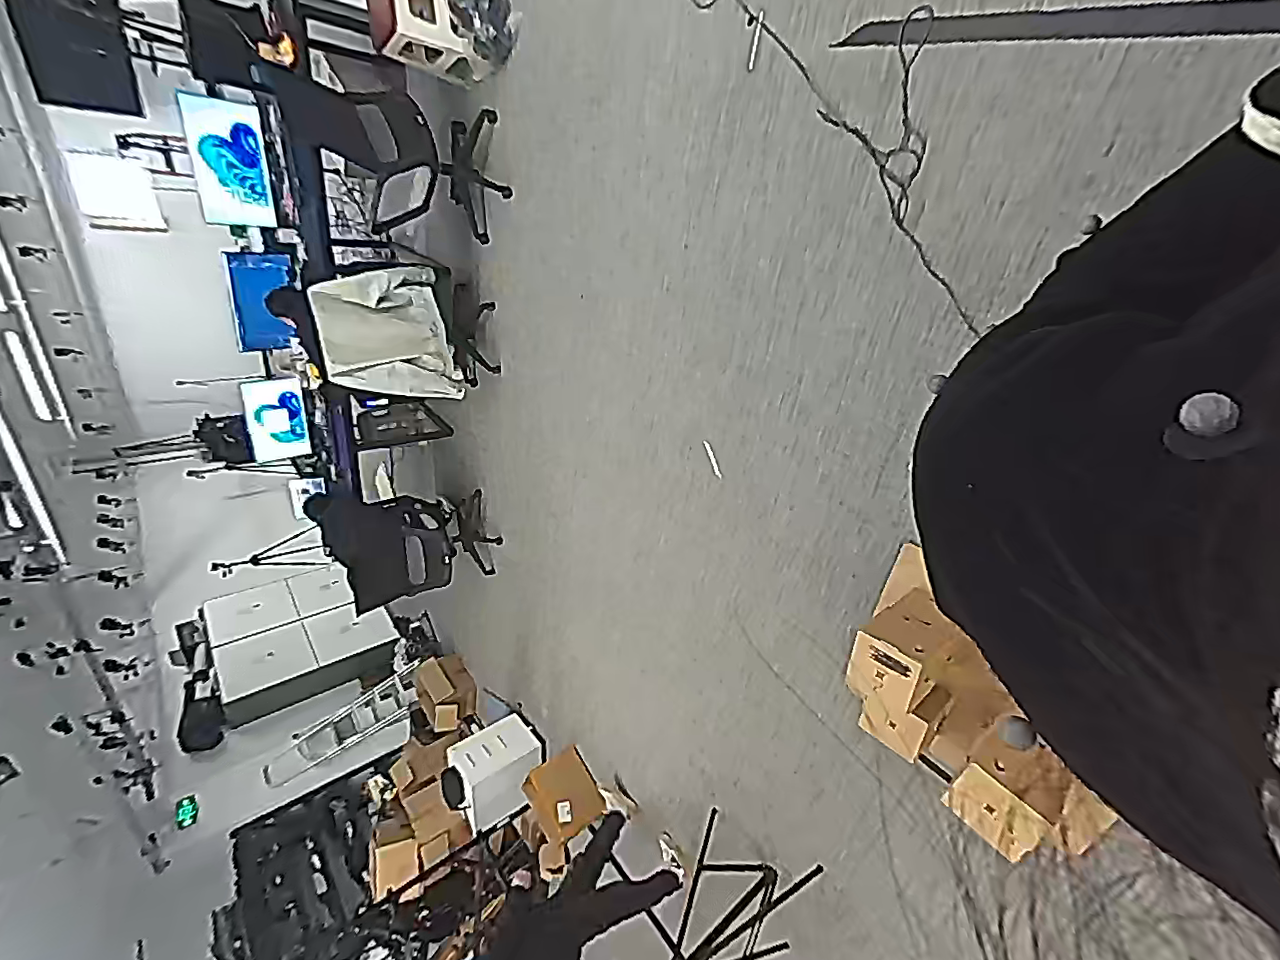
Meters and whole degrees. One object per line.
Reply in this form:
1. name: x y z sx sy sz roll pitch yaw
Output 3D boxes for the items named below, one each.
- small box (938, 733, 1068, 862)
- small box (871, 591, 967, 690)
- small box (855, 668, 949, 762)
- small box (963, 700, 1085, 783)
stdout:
1. small box: 0.847 0.726 1.264 0.179 0.176 0.168 37 129 35
2. small box: 0.782 0.437 1.509 0.168 0.176 0.179 30 124 42
3. small box: 0.776 0.681 1.603 0.179 0.176 0.168 29 125 41
4. small box: 0.970 0.688 1.367 0.179 0.176 0.168 36 128 36
